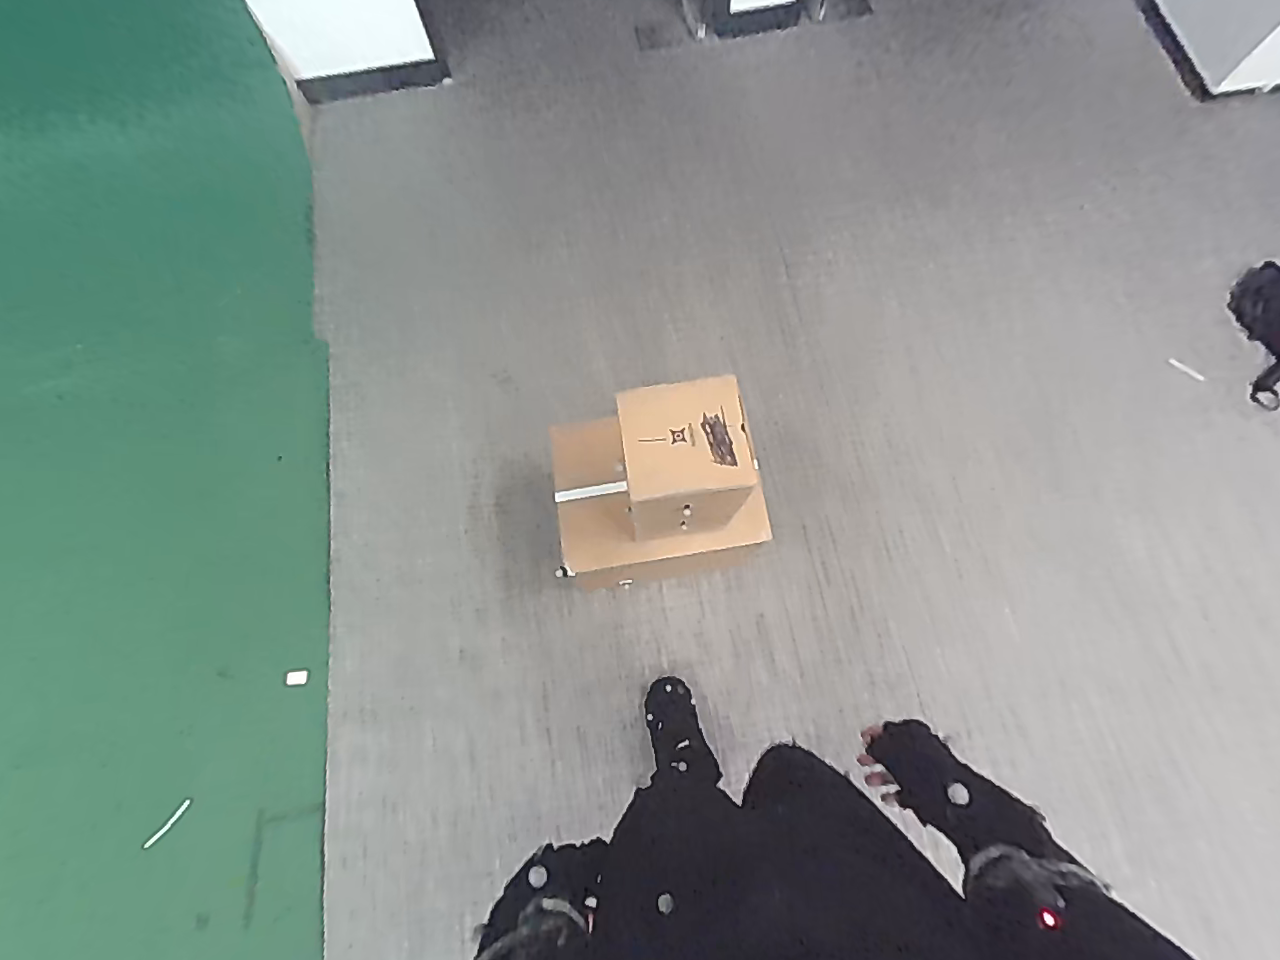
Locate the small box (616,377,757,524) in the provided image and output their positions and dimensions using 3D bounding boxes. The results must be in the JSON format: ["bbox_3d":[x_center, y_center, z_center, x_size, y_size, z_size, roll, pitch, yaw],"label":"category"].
[{"bbox_3d":[0.064,-0.037,0.823,0.179,0.176,0.168,-9,74,1],"label":"small box"}]

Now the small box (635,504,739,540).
[{"bbox_3d":[0.068,0.005,0.982,0.179,0.176,0.168,-10,74,-2],"label":"small box"}]
